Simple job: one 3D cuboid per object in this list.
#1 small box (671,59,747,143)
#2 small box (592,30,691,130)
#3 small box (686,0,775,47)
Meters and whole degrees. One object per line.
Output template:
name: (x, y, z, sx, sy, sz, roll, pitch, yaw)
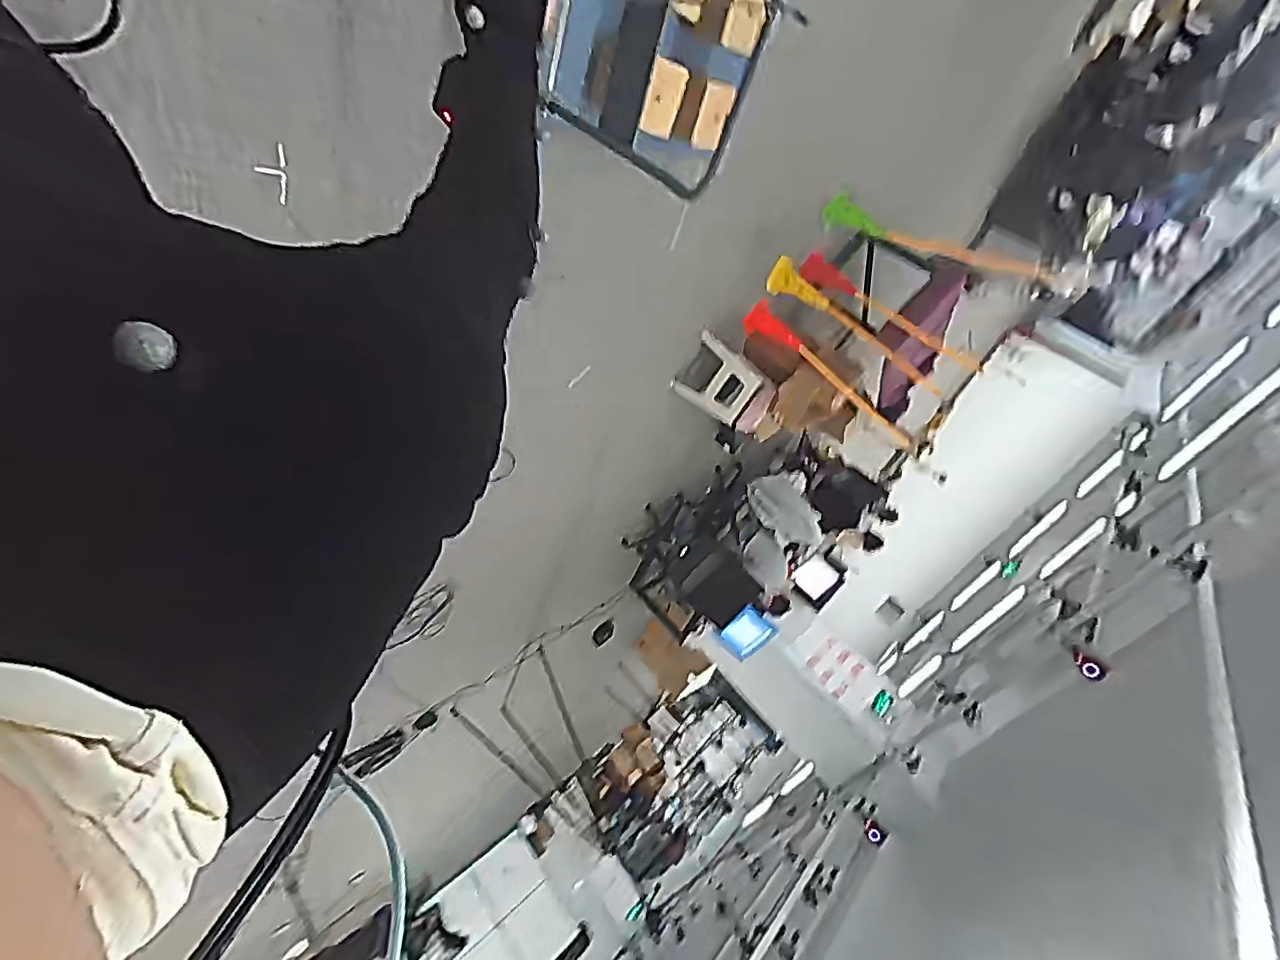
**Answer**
small box: (0.189, -1.164, 1.664, 0.179, 0.176, 0.168, -22, 145, -39)
small box: (0.000, -1.095, 1.483, 0.179, 0.176, 0.168, -19, 144, -43)
small box: (0.256, -1.343, 1.500, 0.179, 0.176, 0.168, -23, 148, -39)
